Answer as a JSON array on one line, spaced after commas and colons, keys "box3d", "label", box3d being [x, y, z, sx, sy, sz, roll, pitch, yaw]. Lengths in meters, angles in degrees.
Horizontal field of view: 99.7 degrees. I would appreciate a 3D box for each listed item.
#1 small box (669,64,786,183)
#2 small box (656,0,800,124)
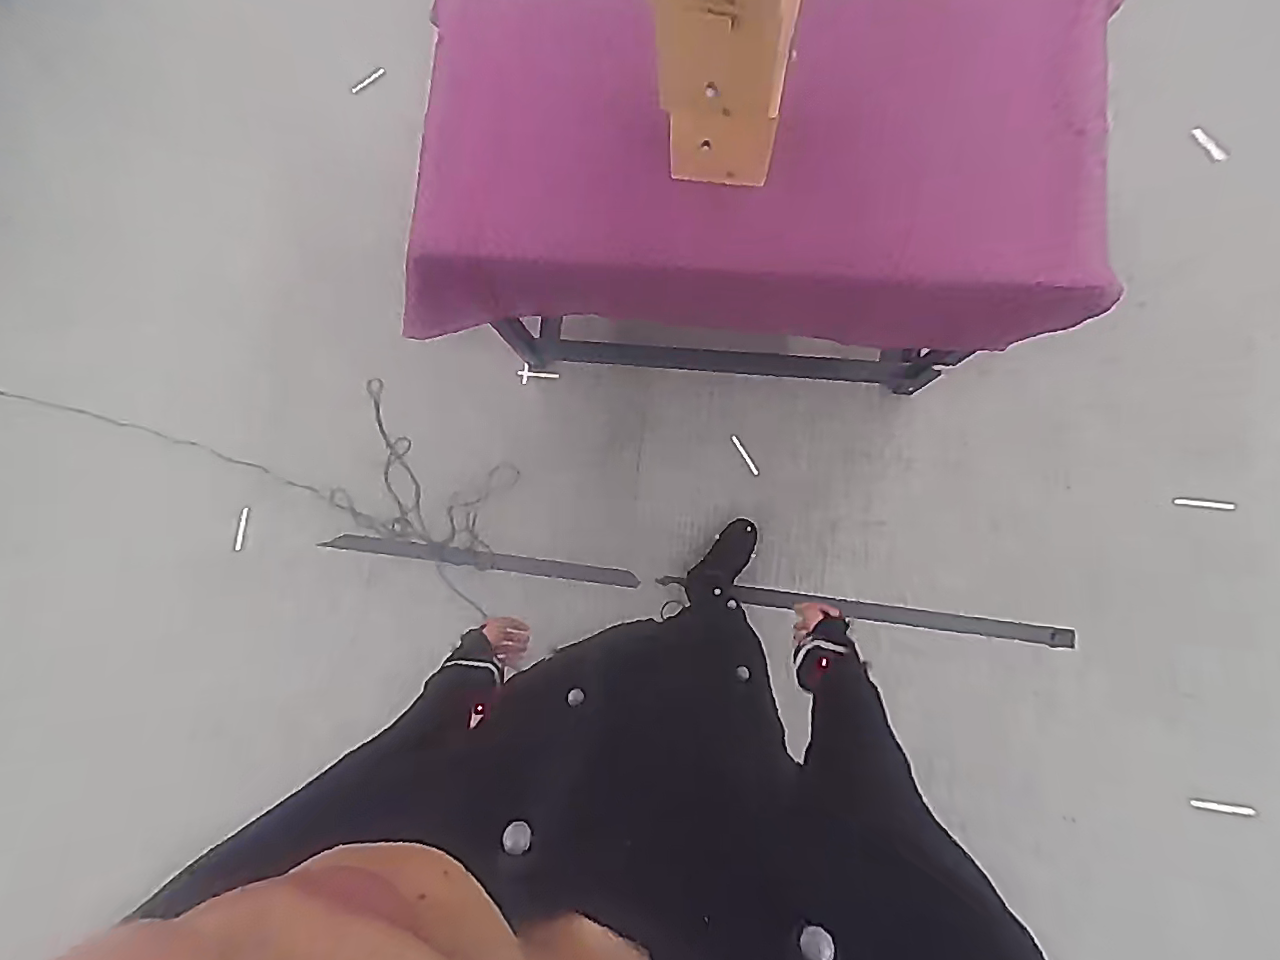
[{"box3d": [0.147, -0.625, 0.895, 0.168, 0.176, 0.179, 9, 84, 7], "label": "small box"}, {"box3d": [0.124, -0.635, 0.732, 0.168, 0.176, 0.179, 16, 85, 8], "label": "small box"}]
